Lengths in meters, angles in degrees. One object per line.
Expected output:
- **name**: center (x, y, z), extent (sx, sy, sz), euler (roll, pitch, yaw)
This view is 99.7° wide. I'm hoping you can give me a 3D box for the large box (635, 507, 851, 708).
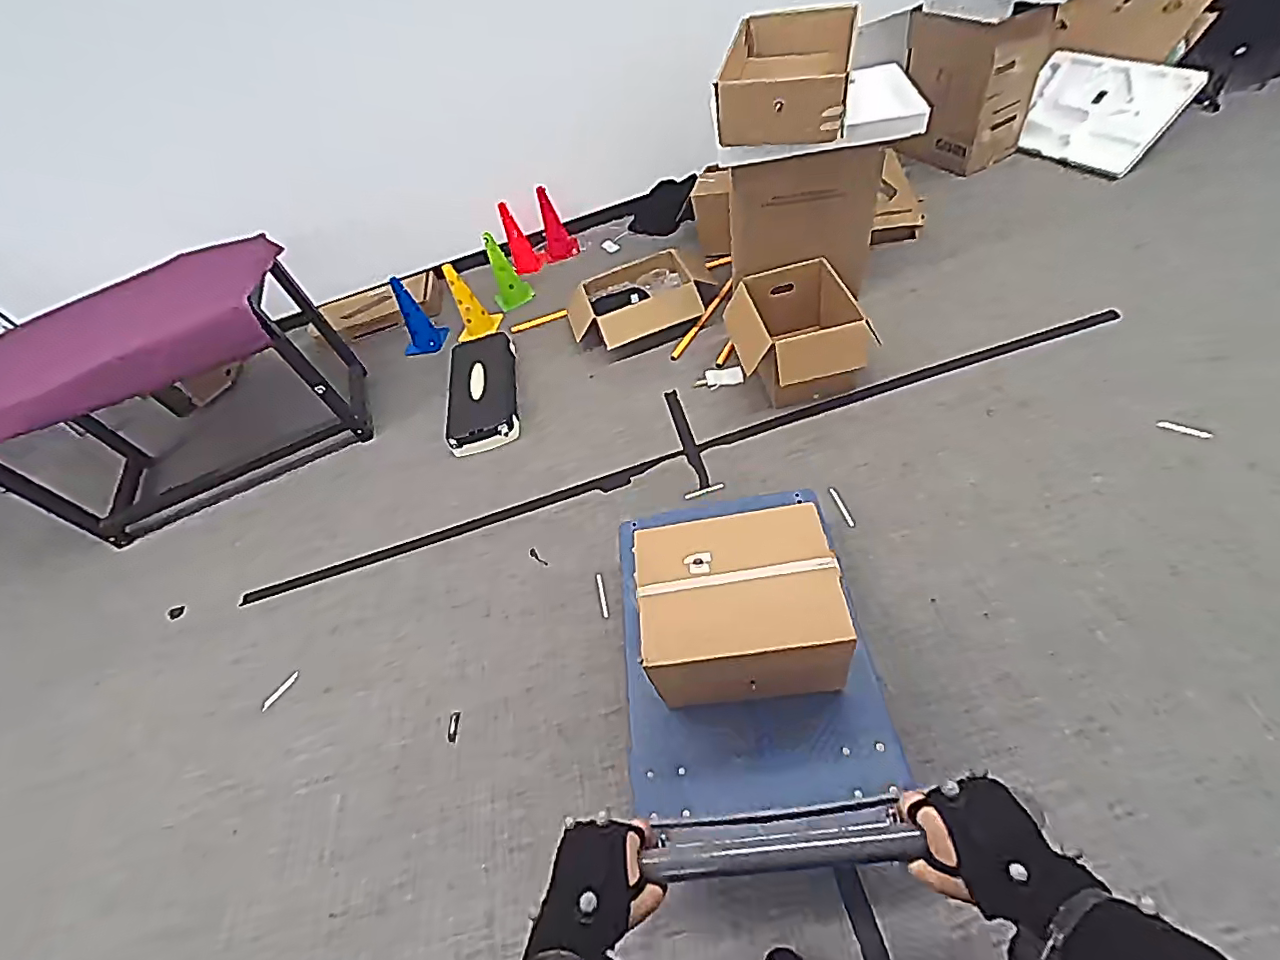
- **large box**: center (0.227, 0.303, 1.240), extent (0.408, 0.320, 0.320), euler (-11, 51, 8)
